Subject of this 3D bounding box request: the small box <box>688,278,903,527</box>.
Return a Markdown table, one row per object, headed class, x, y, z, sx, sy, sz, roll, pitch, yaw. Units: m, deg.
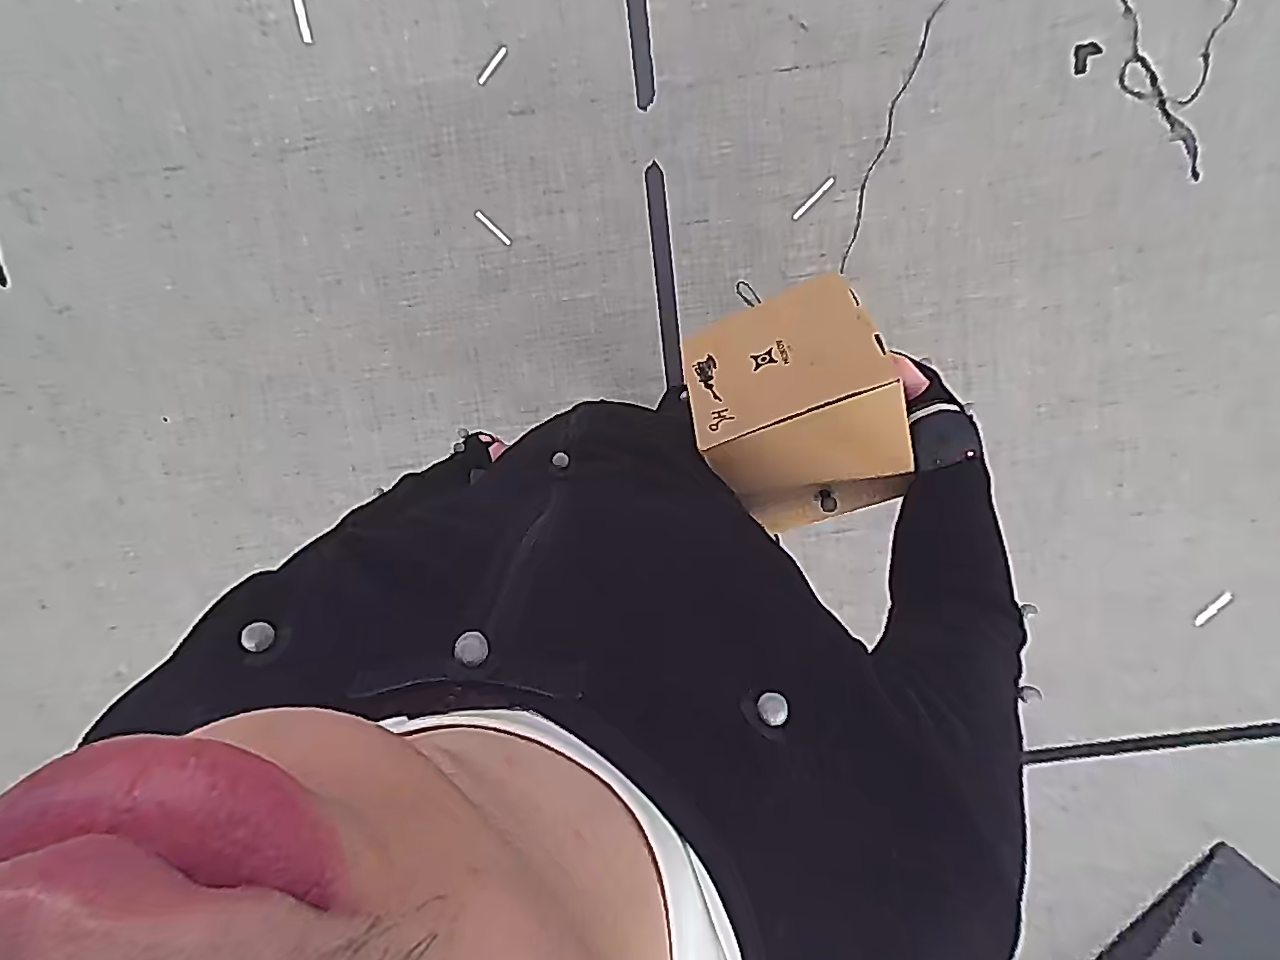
| class | x | y | z | sx | sy | sz | roll | pitch | yaw |
| --- | --- | --- | --- | --- | --- | --- | --- | --- | --- |
| small box | 0.168 | -0.074 | 0.583 | 0.179 | 0.168 | 0.176 | -19 | 137 | 18 |
